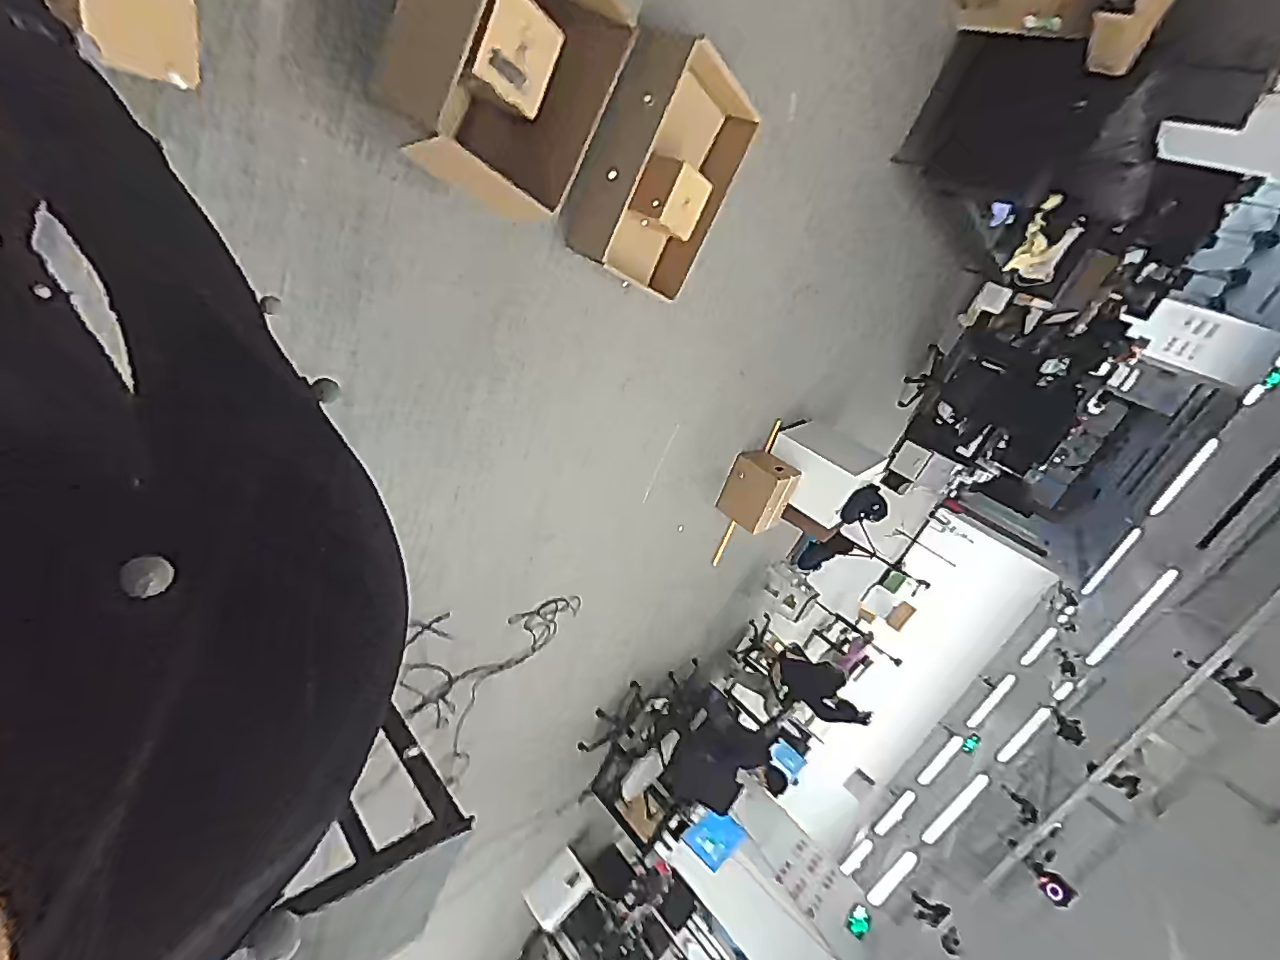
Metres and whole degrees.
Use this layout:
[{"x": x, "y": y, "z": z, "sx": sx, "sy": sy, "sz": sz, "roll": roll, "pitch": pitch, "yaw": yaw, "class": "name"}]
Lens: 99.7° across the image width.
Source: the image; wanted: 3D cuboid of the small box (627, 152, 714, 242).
[{"x": 0.089, "y": -0.867, "z": 1.654, "sx": 0.168, "sy": 0.176, "sz": 0.179, "roll": 2, "pitch": 119, "yaw": -54, "class": "small box"}]
